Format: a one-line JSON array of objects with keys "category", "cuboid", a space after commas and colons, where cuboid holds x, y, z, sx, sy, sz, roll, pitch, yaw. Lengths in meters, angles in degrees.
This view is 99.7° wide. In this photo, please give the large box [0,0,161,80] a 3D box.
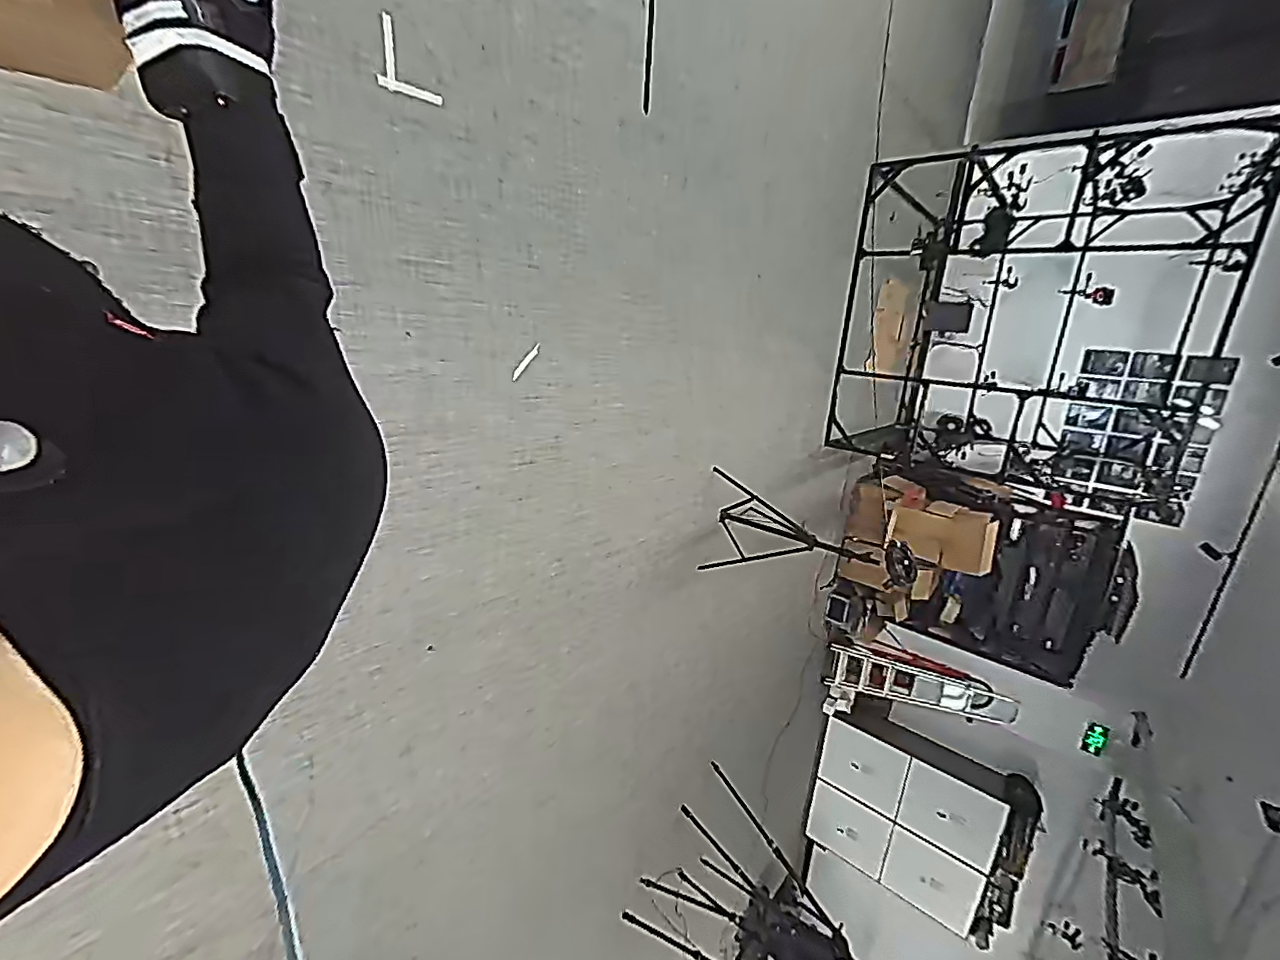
[{"category": "large box", "cuboid": [-0.562, -0.467, 0.274, 0.408, 0.320, 0.320, -19, 119, -46]}]
